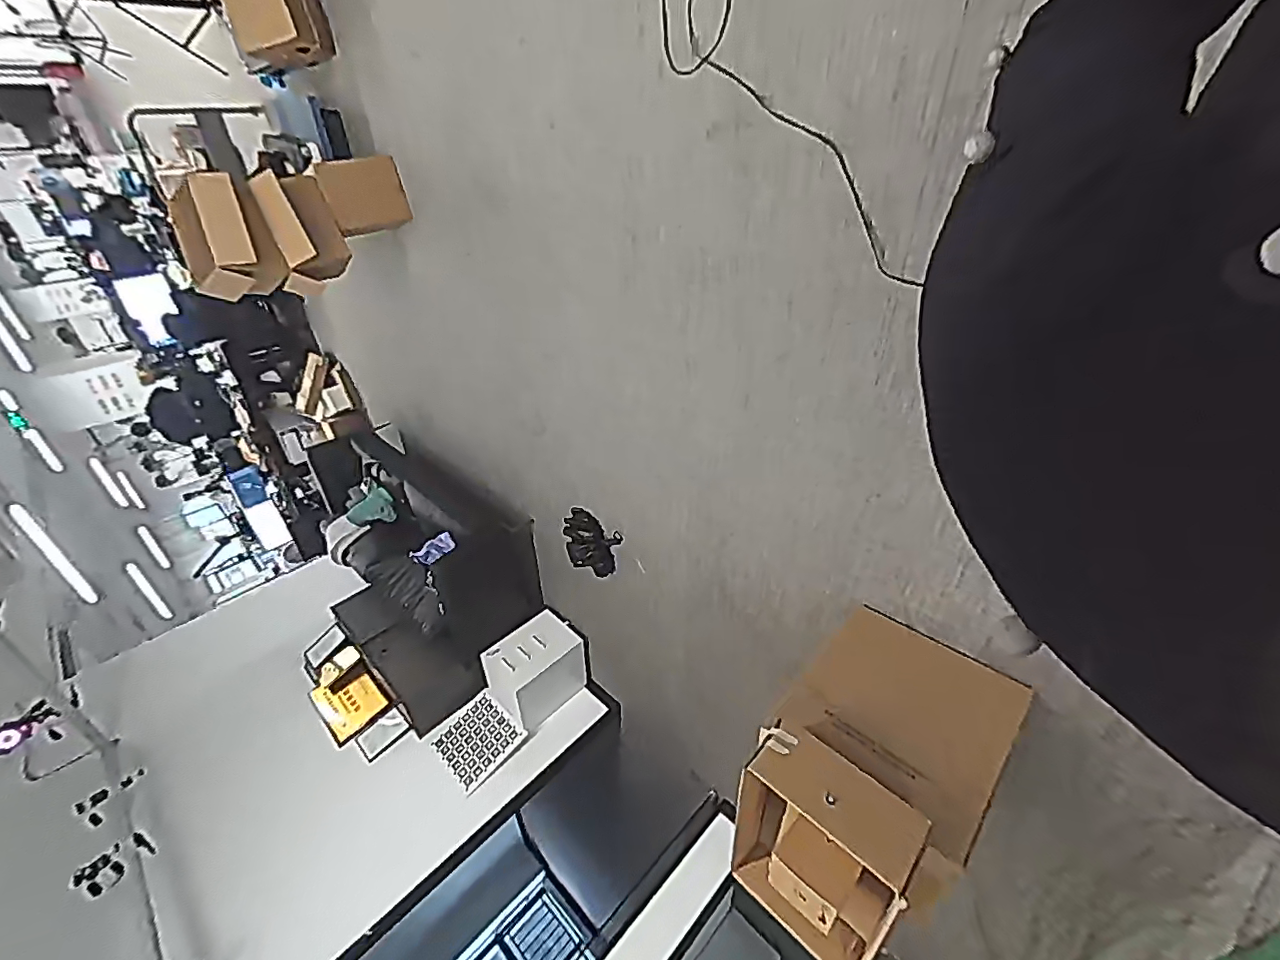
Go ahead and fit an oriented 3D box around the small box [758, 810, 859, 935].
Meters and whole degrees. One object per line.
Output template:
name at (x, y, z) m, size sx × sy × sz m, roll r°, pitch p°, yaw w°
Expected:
small box at (0.426, 0.984, 1.376) m, size 0.179 × 0.176 × 0.168 m, roll 27°, pitch 135°, yaw 38°
